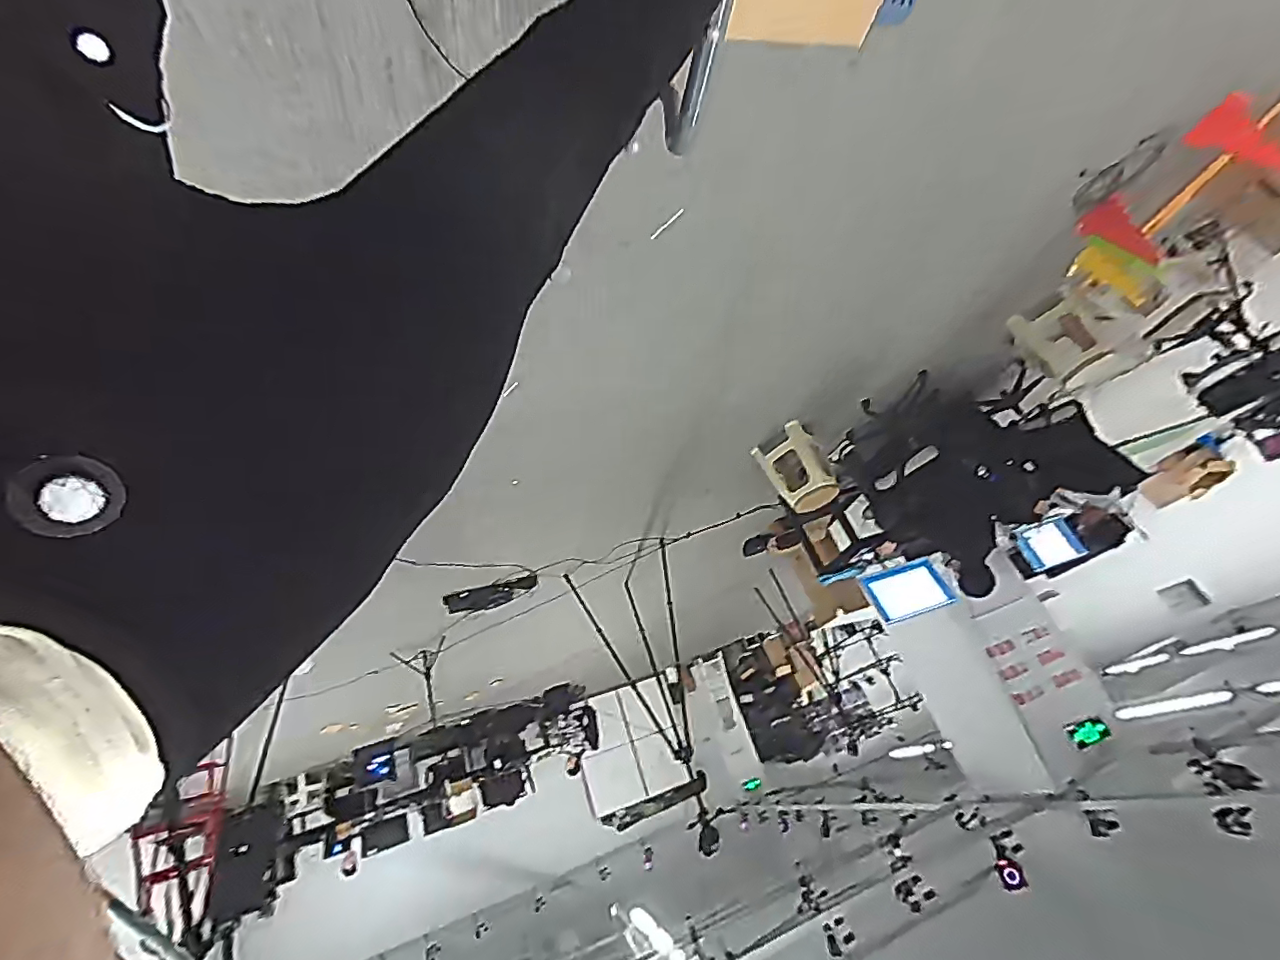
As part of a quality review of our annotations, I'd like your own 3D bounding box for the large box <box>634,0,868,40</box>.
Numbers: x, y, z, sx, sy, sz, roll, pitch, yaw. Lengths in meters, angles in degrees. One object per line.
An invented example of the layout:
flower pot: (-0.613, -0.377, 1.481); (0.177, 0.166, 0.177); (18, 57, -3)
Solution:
large box: (0.184, -0.982, 0.894); (0.408, 0.320, 0.320); (-13, 152, -18)
